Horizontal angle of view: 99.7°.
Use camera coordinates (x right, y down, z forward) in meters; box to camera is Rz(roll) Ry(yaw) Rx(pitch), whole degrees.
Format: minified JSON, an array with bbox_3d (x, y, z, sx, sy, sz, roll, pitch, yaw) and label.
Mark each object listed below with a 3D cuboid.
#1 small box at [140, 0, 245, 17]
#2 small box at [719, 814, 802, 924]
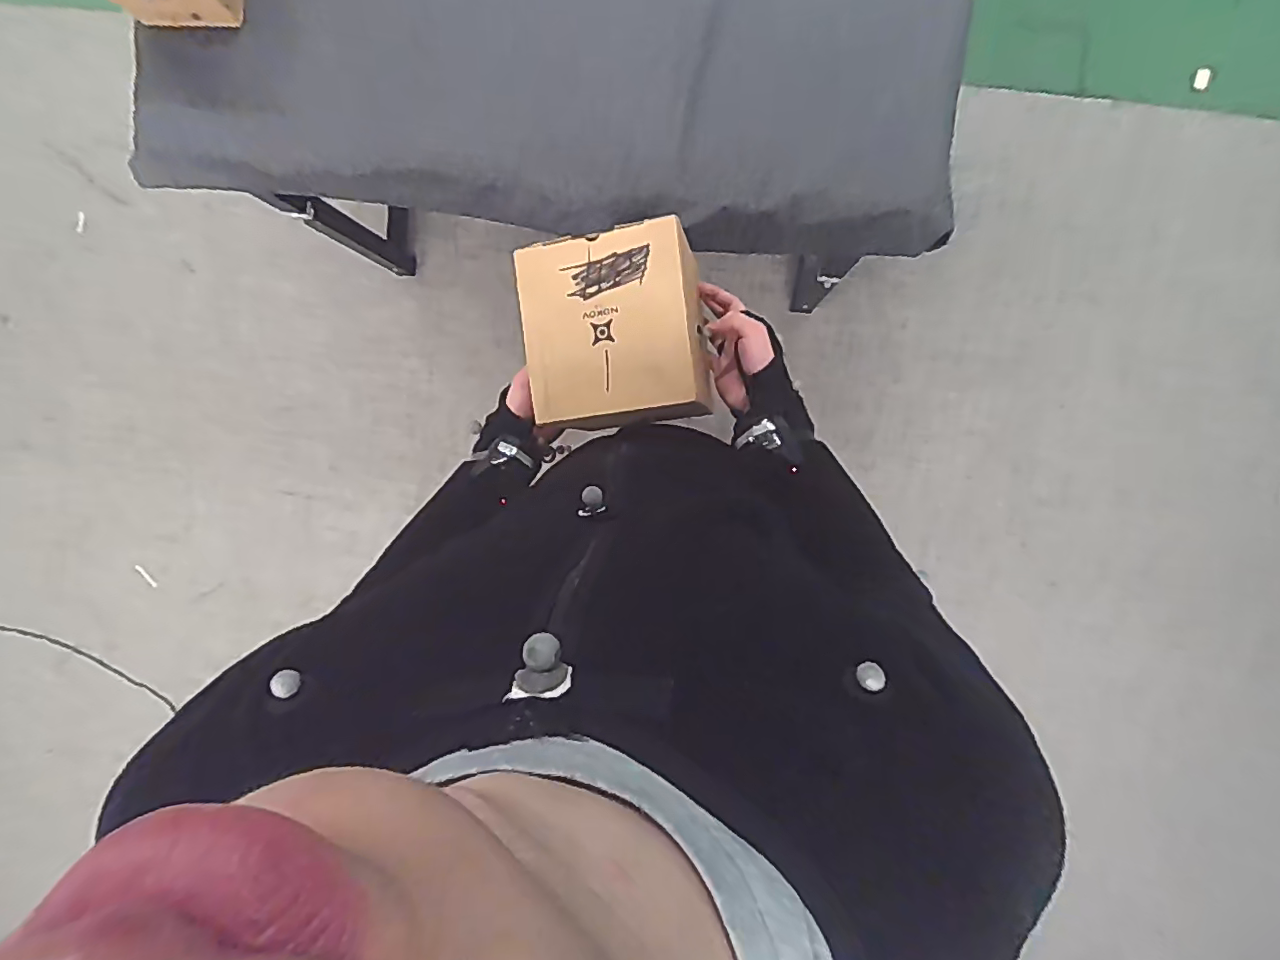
[{"bbox_3d":[-0.671,-0.780,0.734,0.168,0.176,0.179,5,96,4],"label":"small box"},{"bbox_3d":[0.340,1.110,1.559,0.179,0.176,0.168,20,95,4],"label":"small box"}]
